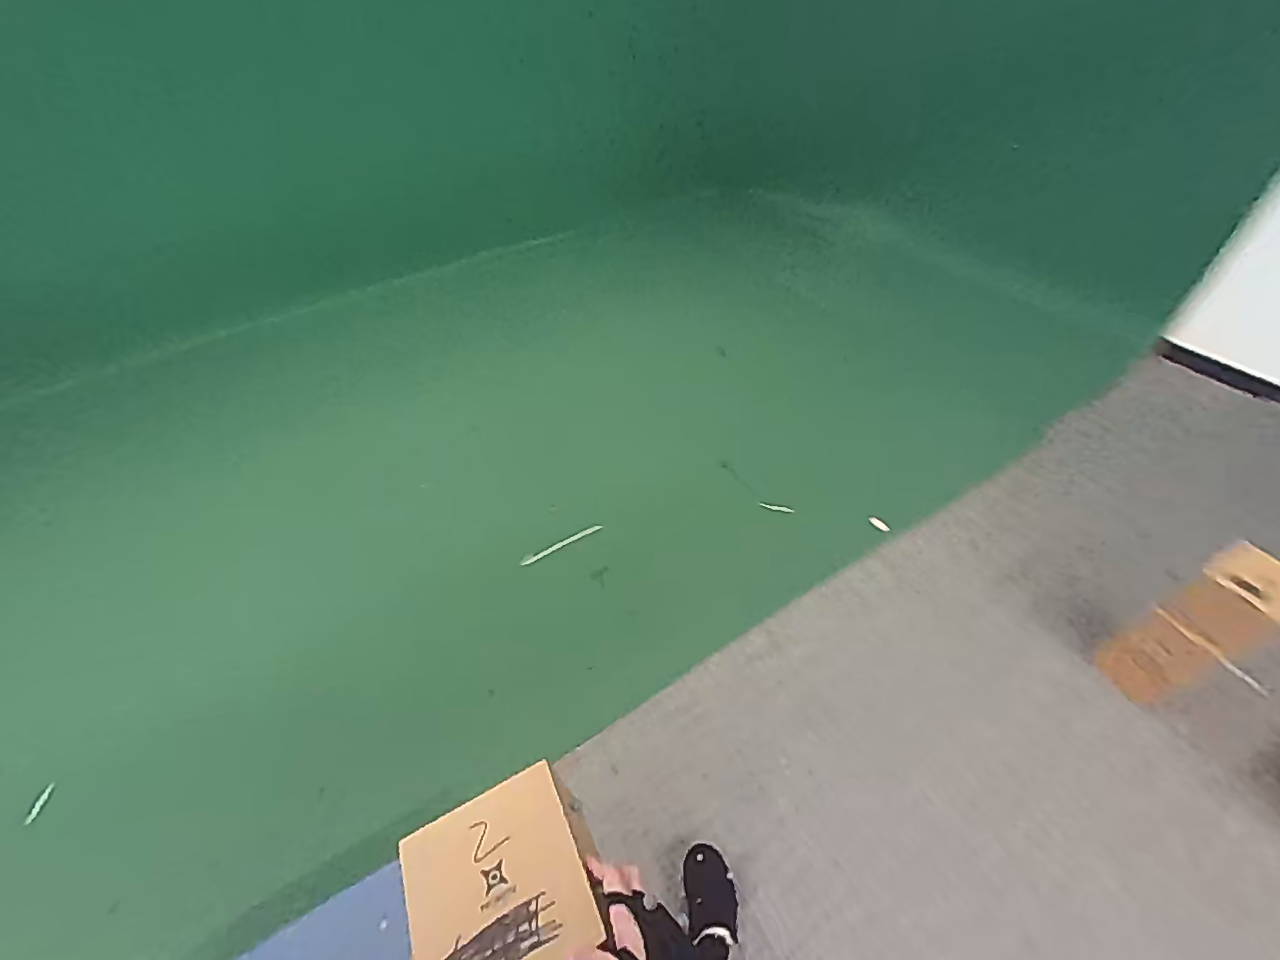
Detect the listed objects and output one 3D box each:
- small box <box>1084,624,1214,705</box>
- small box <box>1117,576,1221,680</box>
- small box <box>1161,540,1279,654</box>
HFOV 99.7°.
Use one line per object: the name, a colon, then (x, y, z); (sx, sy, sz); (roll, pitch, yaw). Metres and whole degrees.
small box: (1.426, 0.500, 1.530); (0.168, 0.176, 0.179); (-23, 50, -15)
small box: (1.410, 0.389, 1.411); (0.179, 0.176, 0.168); (-24, 50, -15)
small box: (1.411, 0.281, 1.286); (0.179, 0.176, 0.168); (-24, 50, -17)
